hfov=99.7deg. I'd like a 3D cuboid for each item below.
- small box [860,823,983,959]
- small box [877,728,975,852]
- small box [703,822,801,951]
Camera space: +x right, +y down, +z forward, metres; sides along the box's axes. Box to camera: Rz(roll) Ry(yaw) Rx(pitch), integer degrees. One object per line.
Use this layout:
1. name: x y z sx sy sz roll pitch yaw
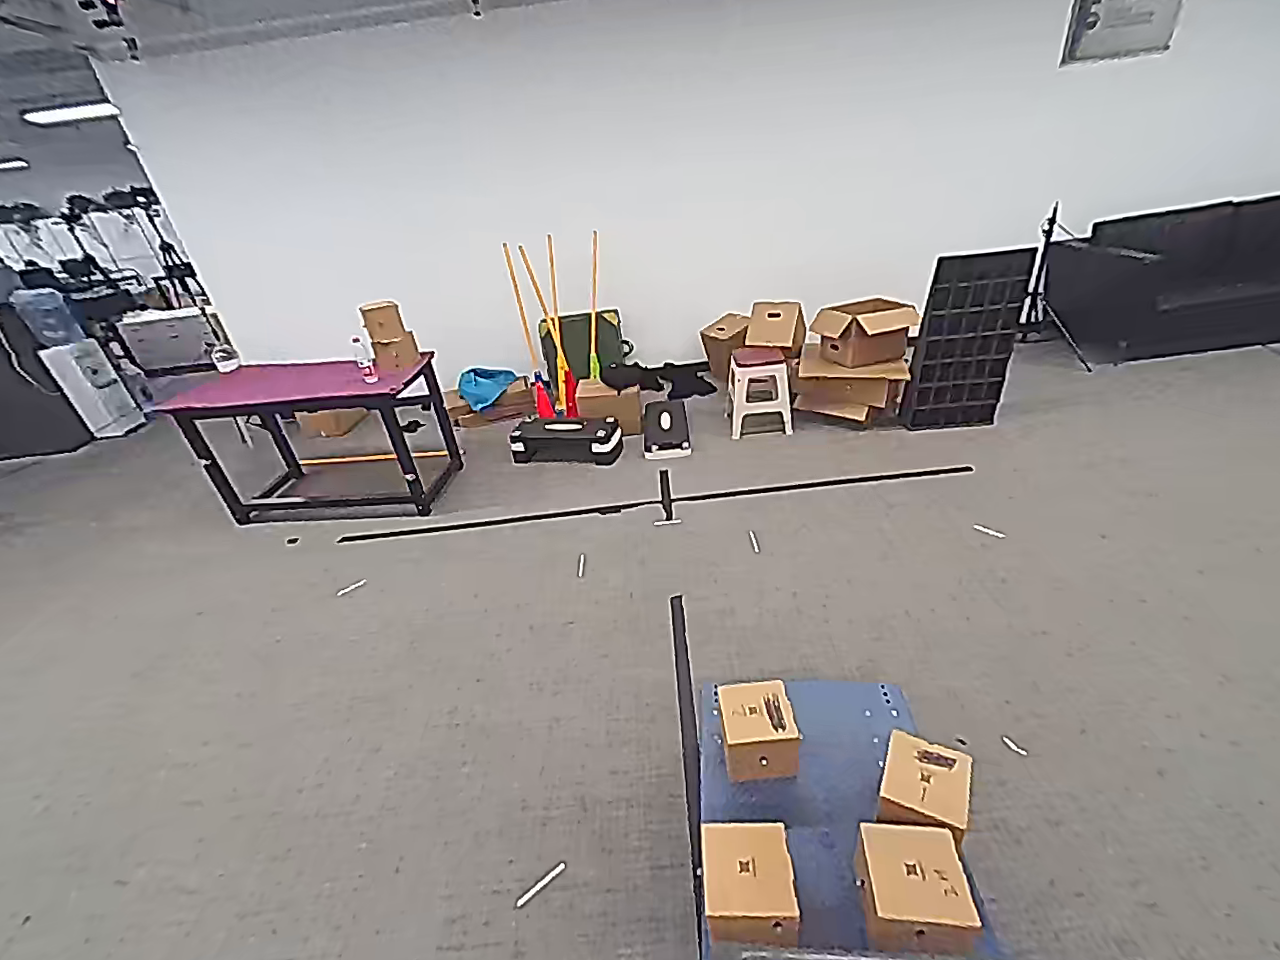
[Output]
1. small box: 0.540 0.811 1.066 0.179 0.176 0.168 -2 31 11
2. small box: 0.639 0.708 1.214 0.168 0.176 0.179 10 36 29
3. small box: 0.226 0.833 1.110 0.179 0.176 0.168 -4 31 5
